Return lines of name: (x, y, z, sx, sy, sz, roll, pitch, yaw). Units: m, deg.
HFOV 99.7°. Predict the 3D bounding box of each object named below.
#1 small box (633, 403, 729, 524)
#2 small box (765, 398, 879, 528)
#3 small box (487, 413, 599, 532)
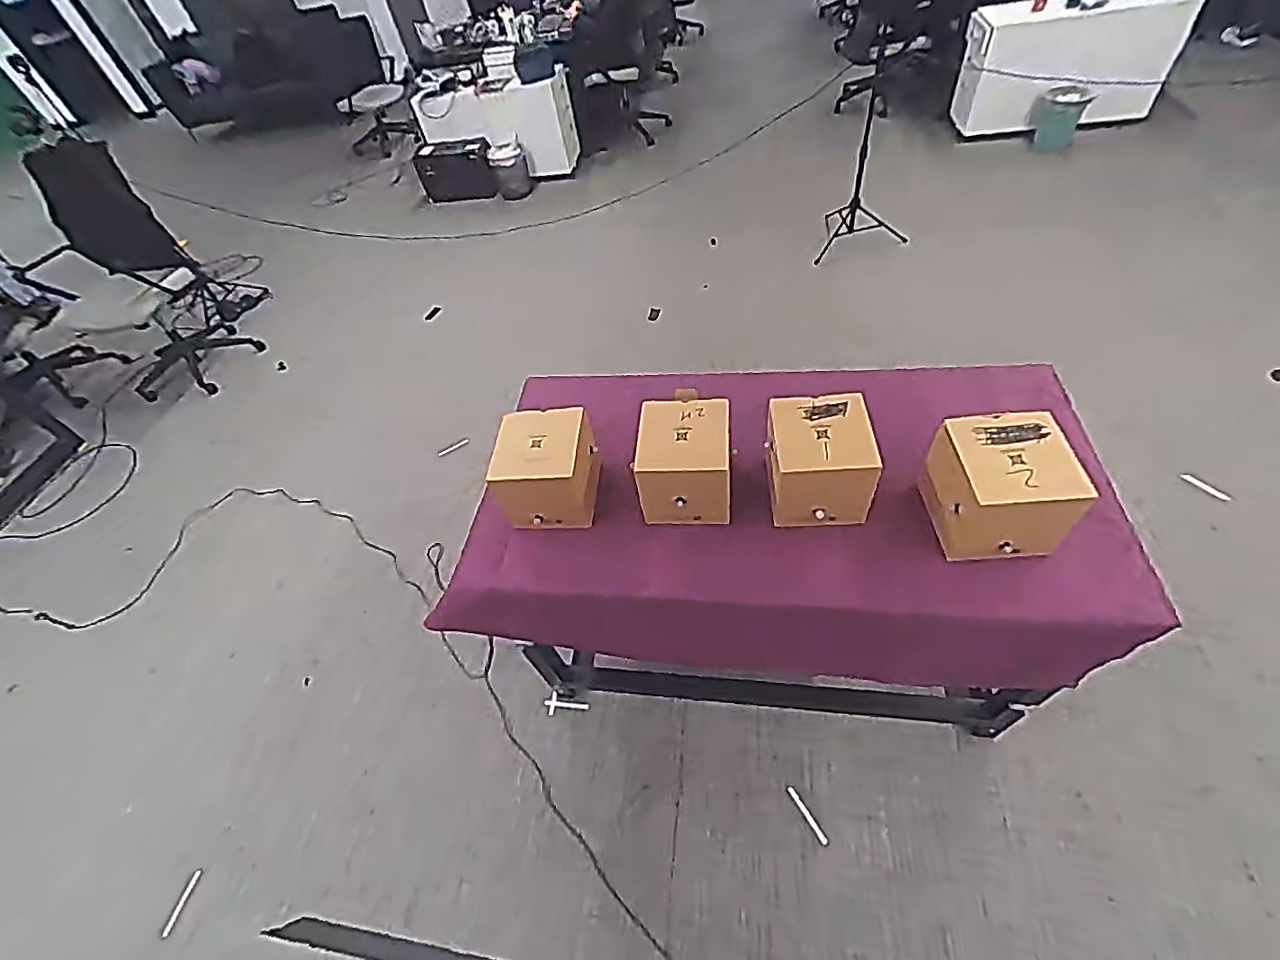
small box: (0.088, -0.027, 1.049, 0.168, 0.176, 0.179, 0, 51, 10)
small box: (0.326, -0.029, 1.008, 0.168, 0.176, 0.179, -3, 51, 8)
small box: (-0.184, -0.013, 1.088, 0.168, 0.176, 0.179, -2, 51, 9)
